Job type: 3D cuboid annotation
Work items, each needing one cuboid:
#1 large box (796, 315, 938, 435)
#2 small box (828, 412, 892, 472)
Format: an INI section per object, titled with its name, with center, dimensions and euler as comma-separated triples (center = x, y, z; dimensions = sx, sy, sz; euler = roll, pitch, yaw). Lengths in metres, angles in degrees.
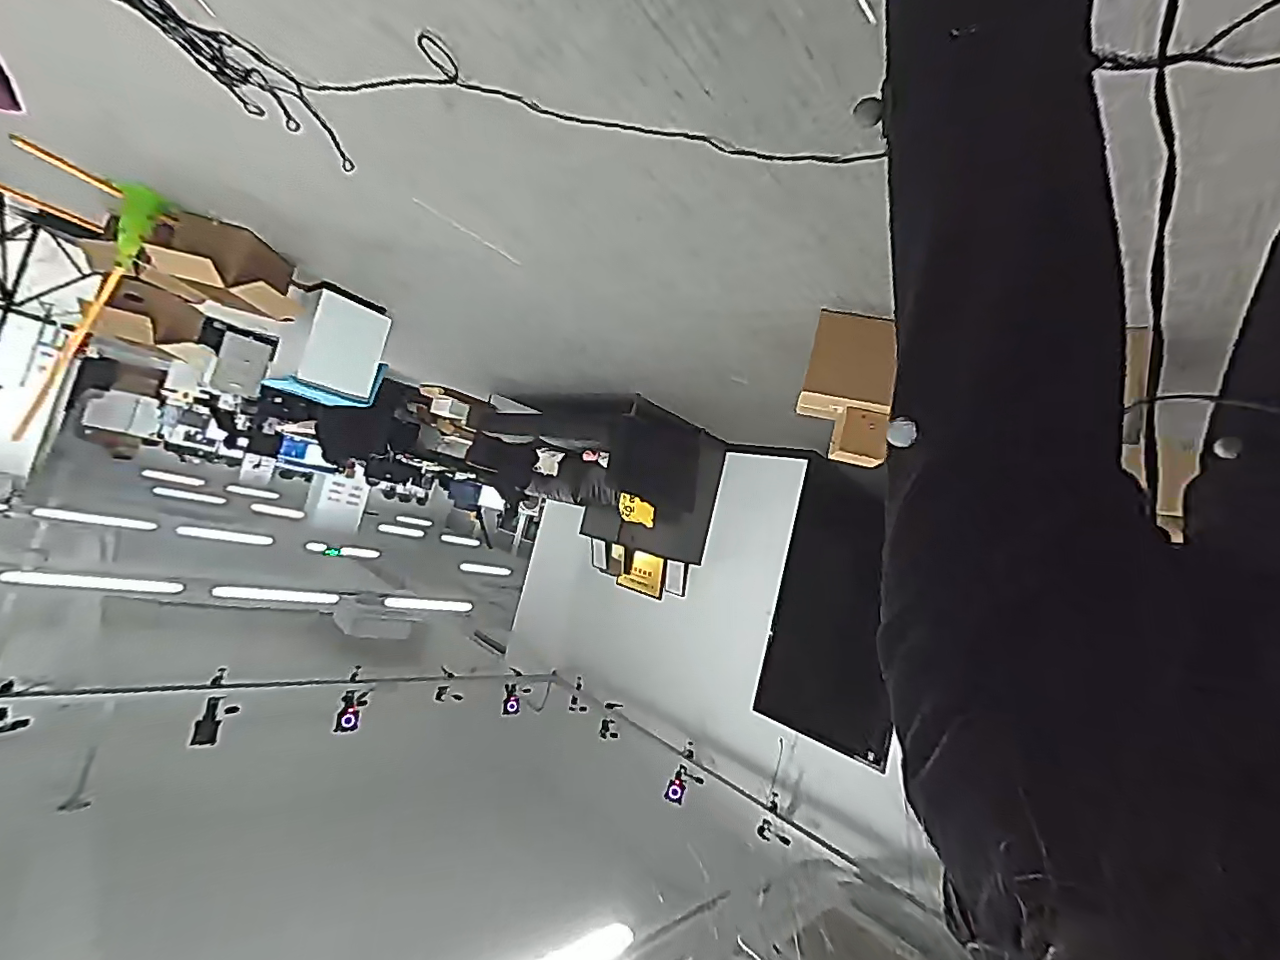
[large box]
center = 0.829, -0.384, 2.017
dimensions = 0.408, 0.320, 0.320
euler = 15, 175, 14
[small box]
center = 0.810, -0.138, 1.993
dimensions = 0.168, 0.176, 0.179
euler = 14, 176, 10
